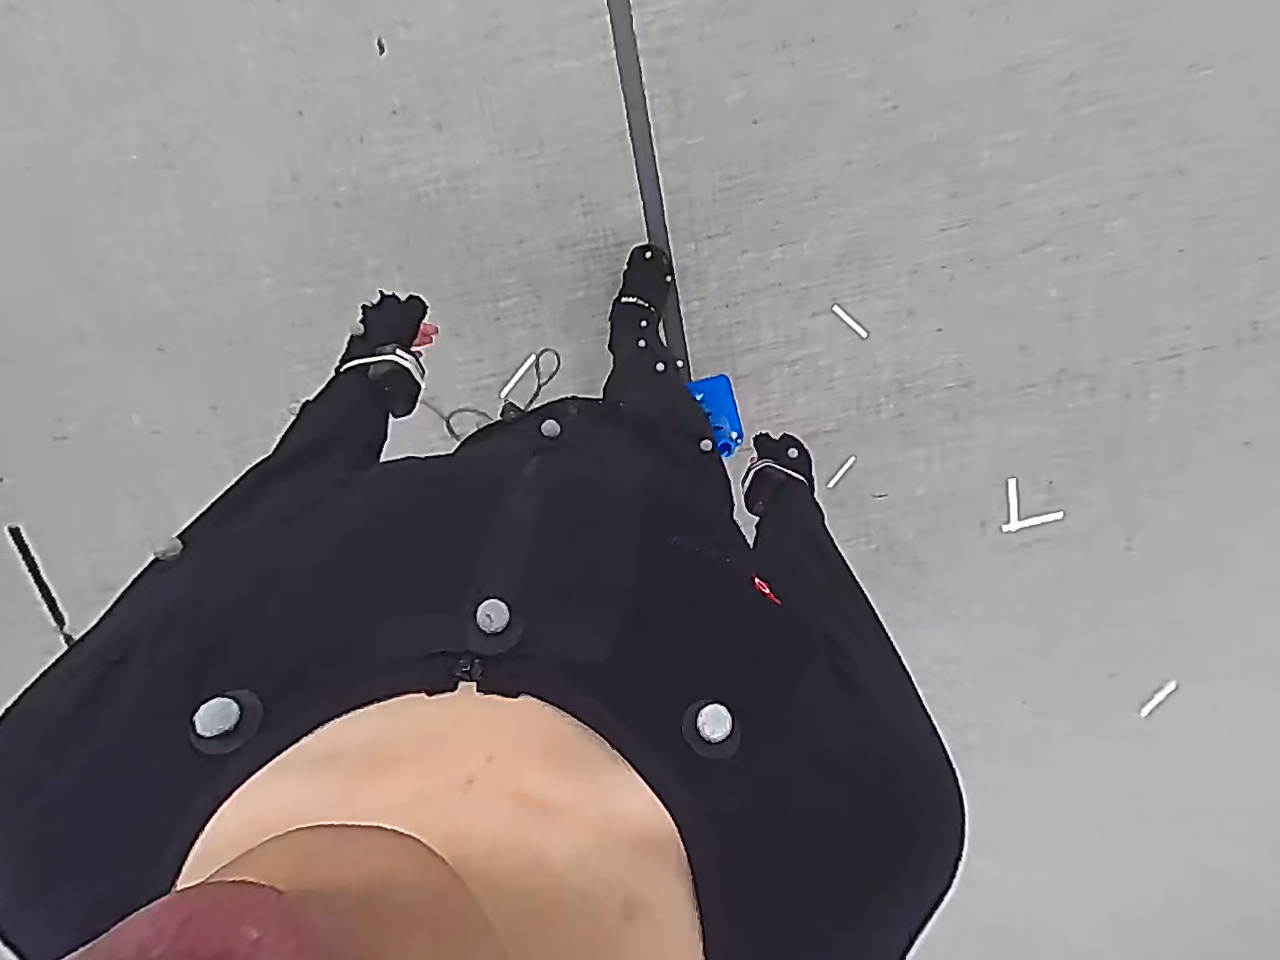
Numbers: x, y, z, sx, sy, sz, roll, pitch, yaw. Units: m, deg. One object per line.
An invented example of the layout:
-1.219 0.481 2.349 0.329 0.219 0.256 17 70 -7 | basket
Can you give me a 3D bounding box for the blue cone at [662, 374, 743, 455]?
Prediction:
0.172 -0.125 1.265 0.192 0.380 0.193 -15 106 1 | blue cone
